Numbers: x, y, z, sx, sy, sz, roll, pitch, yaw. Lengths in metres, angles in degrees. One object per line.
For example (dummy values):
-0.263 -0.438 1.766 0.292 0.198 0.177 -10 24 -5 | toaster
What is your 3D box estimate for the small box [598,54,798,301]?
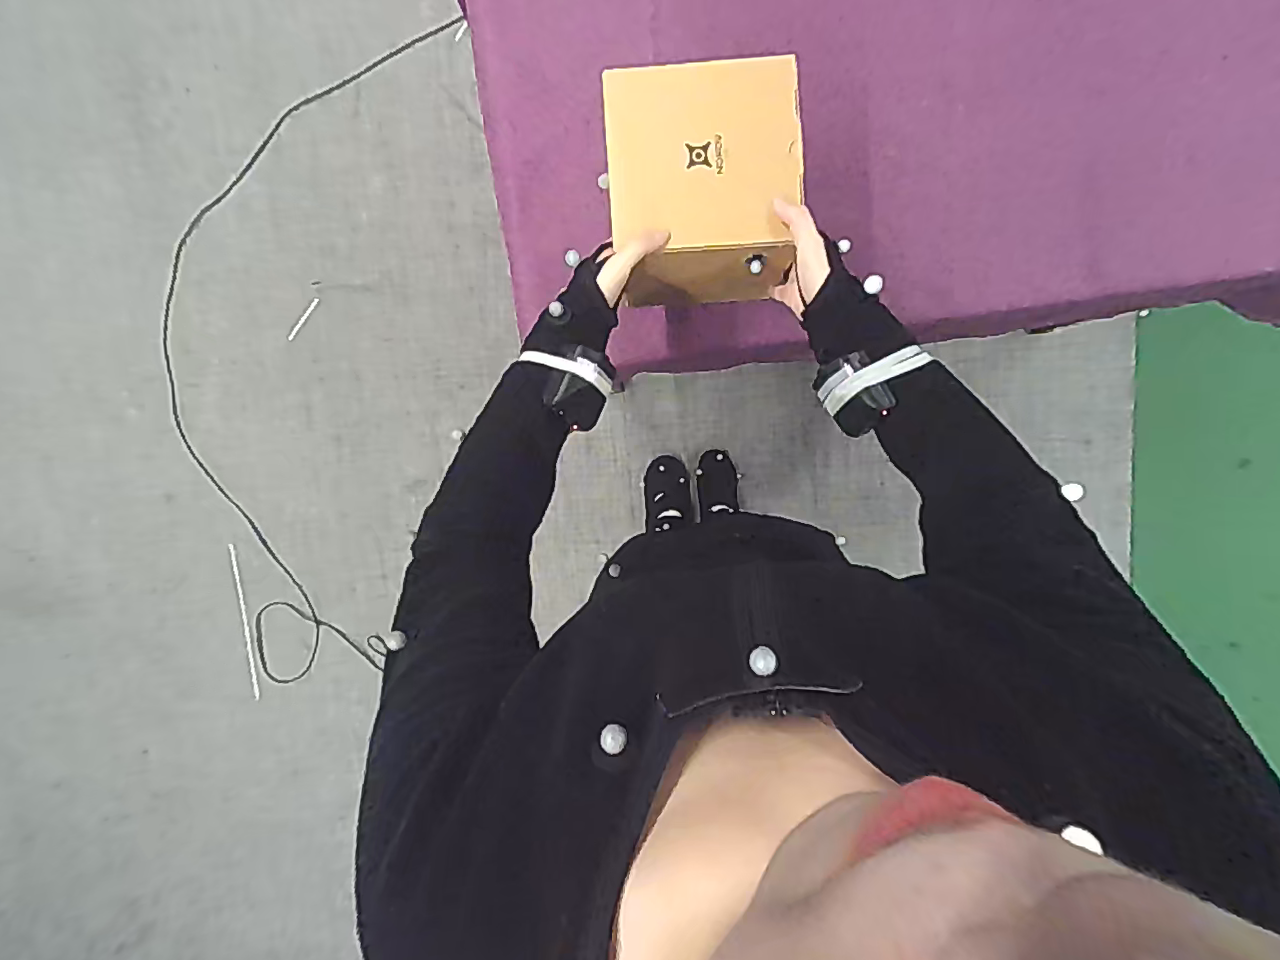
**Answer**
0.057 -0.297 0.568 0.179 0.176 0.168 -3 91 2 | small box
